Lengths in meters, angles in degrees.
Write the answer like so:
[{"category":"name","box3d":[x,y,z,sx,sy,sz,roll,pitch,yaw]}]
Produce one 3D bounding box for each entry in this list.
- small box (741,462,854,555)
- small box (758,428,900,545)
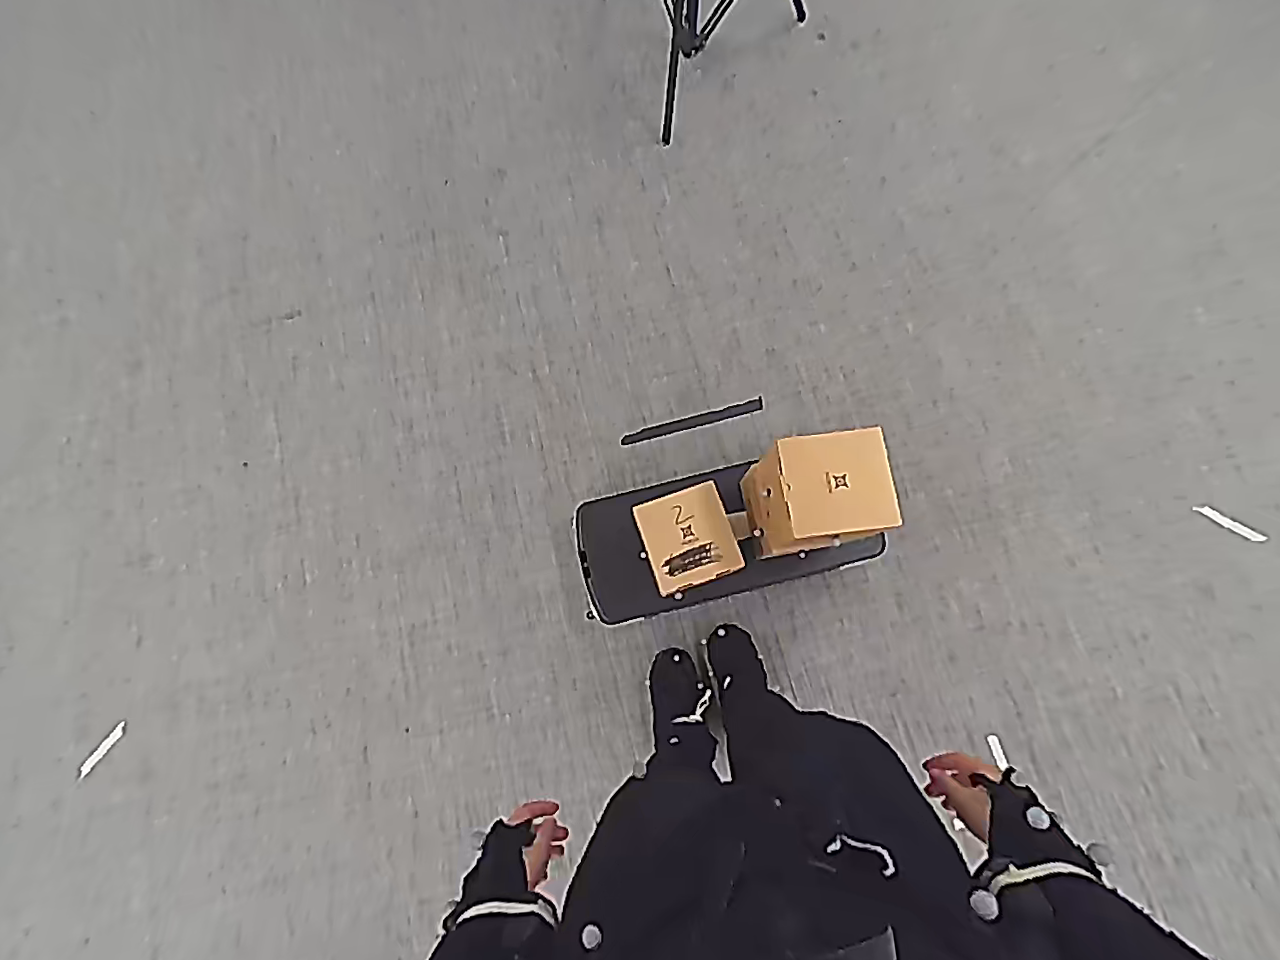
[{"category":"small box","box3d":[0.310,0.055,1.099,0.168,0.176,0.179,-10,77,0]},{"category":"small box","box3d":[0.316,0.018,0.940,0.179,0.176,0.168,-7,78,1]}]
